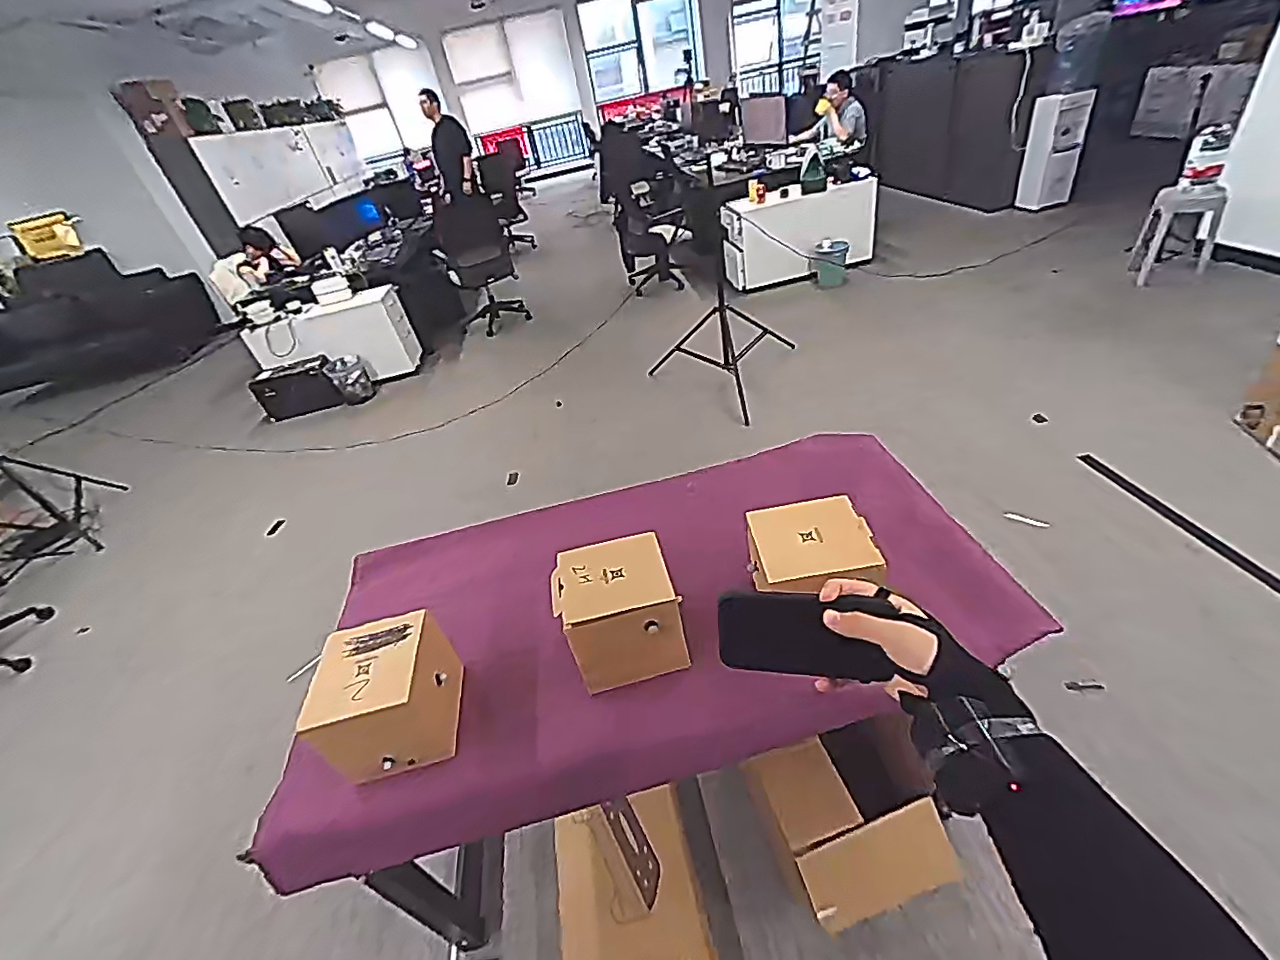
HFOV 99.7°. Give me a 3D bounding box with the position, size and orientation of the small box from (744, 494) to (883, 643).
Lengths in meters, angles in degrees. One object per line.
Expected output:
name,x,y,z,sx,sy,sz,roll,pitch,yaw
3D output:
small box,0.283,0.150,0.902,0.179,0.176,0.168,-11,36,3

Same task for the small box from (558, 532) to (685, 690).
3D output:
small box,-0.028,0.220,0.908,0.179,0.176,0.168,-15,34,-2
